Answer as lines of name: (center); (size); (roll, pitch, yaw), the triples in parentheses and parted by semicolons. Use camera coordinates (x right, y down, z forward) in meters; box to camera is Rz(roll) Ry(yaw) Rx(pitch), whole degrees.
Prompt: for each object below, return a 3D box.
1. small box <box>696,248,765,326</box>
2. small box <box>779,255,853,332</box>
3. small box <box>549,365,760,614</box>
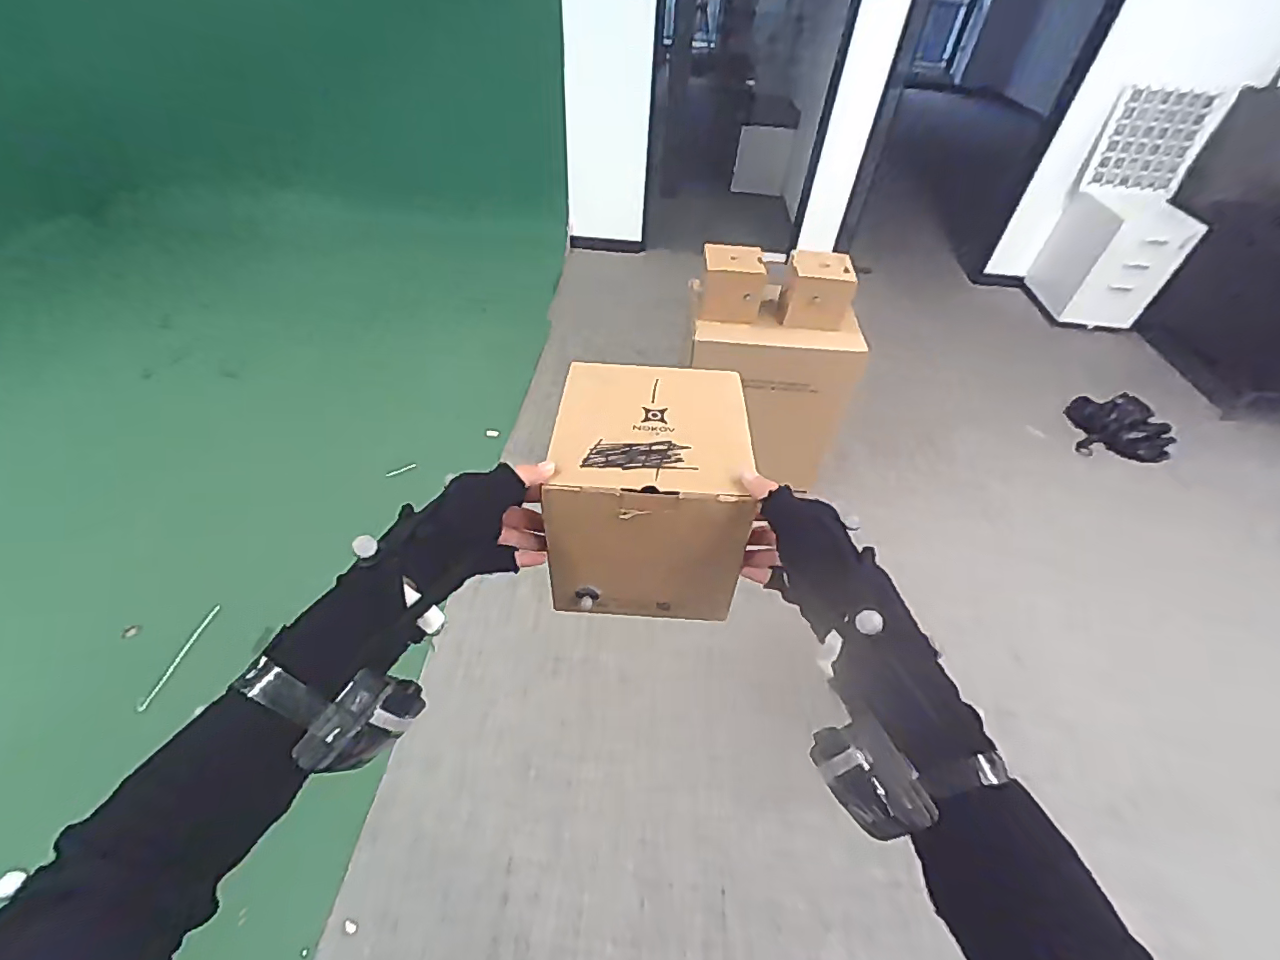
small box: (0.275, -0.596, 1.679); (0.179, 0.176, 0.168); (2, 48, -1)
small box: (0.536, -0.578, 1.682); (0.179, 0.176, 0.168); (5, 49, 0)
small box: (0.013, 0.010, 0.524); (0.168, 0.176, 0.179); (4, 42, 0)
